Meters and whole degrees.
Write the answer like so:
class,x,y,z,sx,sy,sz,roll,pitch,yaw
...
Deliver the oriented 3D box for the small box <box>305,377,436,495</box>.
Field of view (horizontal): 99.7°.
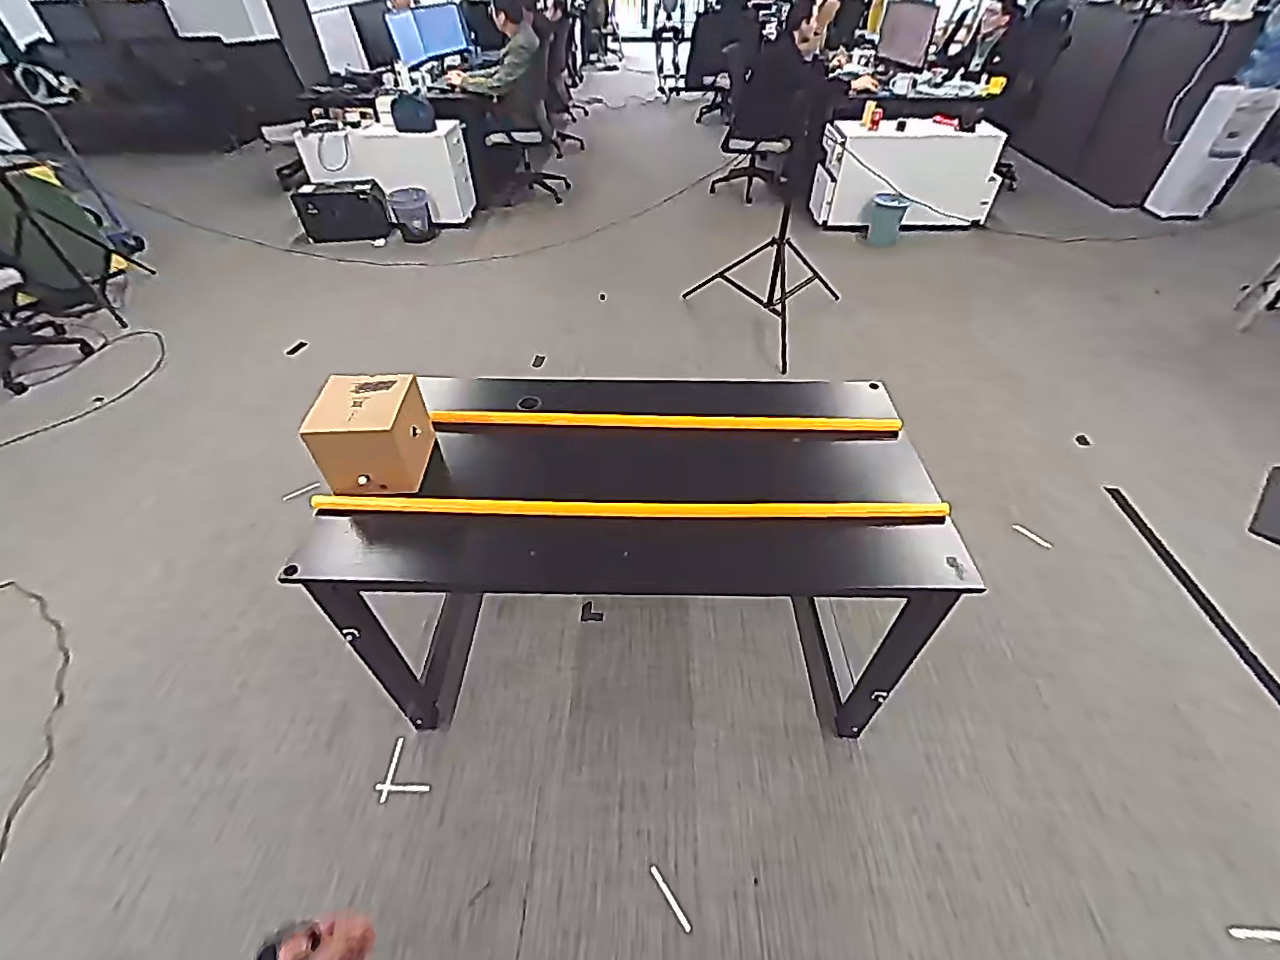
class,x,y,z,sx,sy,sz,roll,pitch,yaw
small box,-0.522,-0.088,1.082,0.168,0.176,0.179,-2,46,-2
